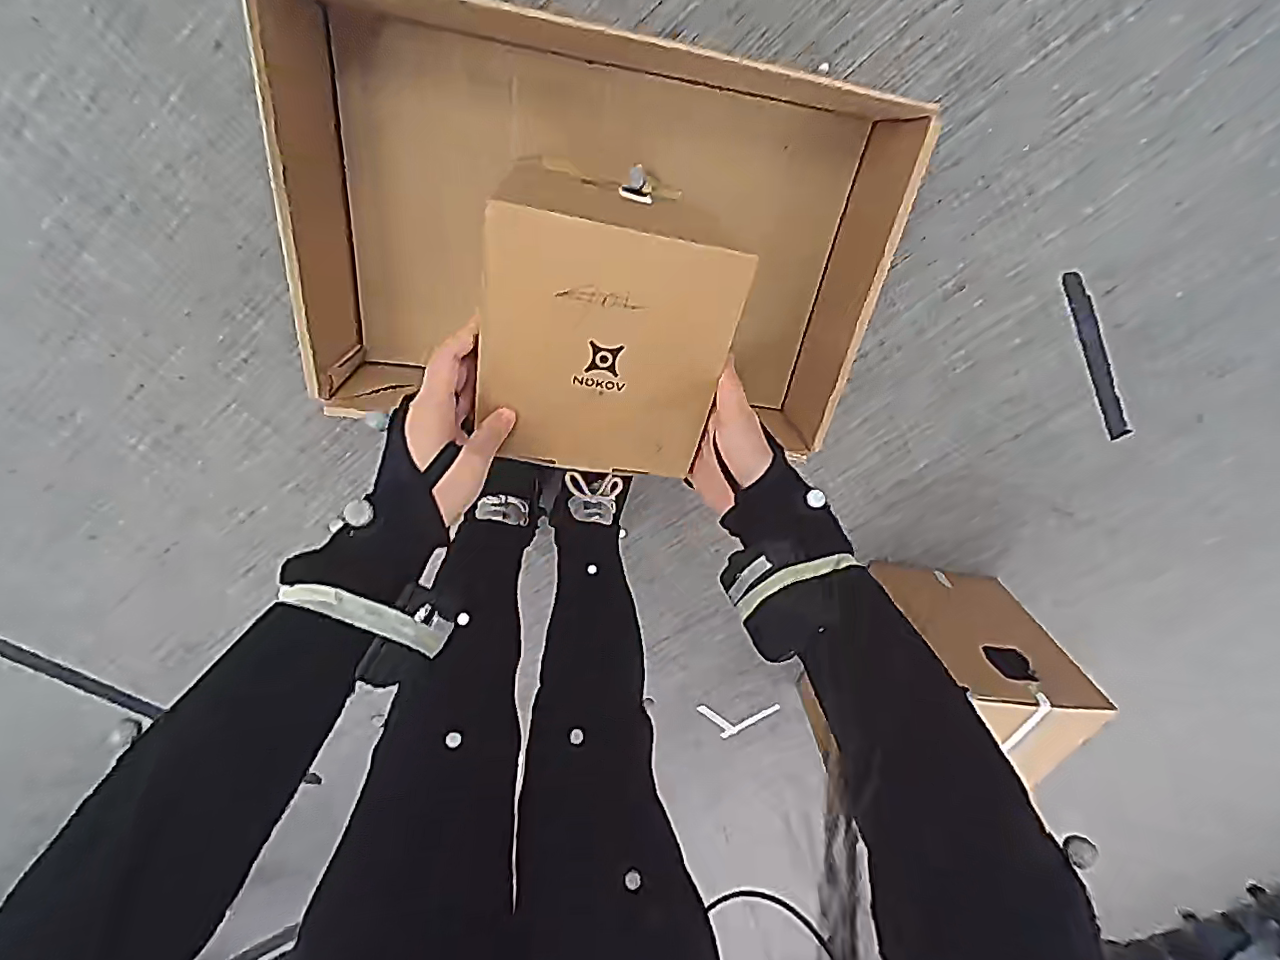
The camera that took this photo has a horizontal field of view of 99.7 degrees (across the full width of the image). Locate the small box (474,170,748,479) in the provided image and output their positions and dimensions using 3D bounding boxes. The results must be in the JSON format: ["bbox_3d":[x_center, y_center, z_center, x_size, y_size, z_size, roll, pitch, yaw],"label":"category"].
[{"bbox_3d":[-0.034,-0.125,0.433,0.168,0.176,0.179,6,126,-12],"label":"small box"}]
